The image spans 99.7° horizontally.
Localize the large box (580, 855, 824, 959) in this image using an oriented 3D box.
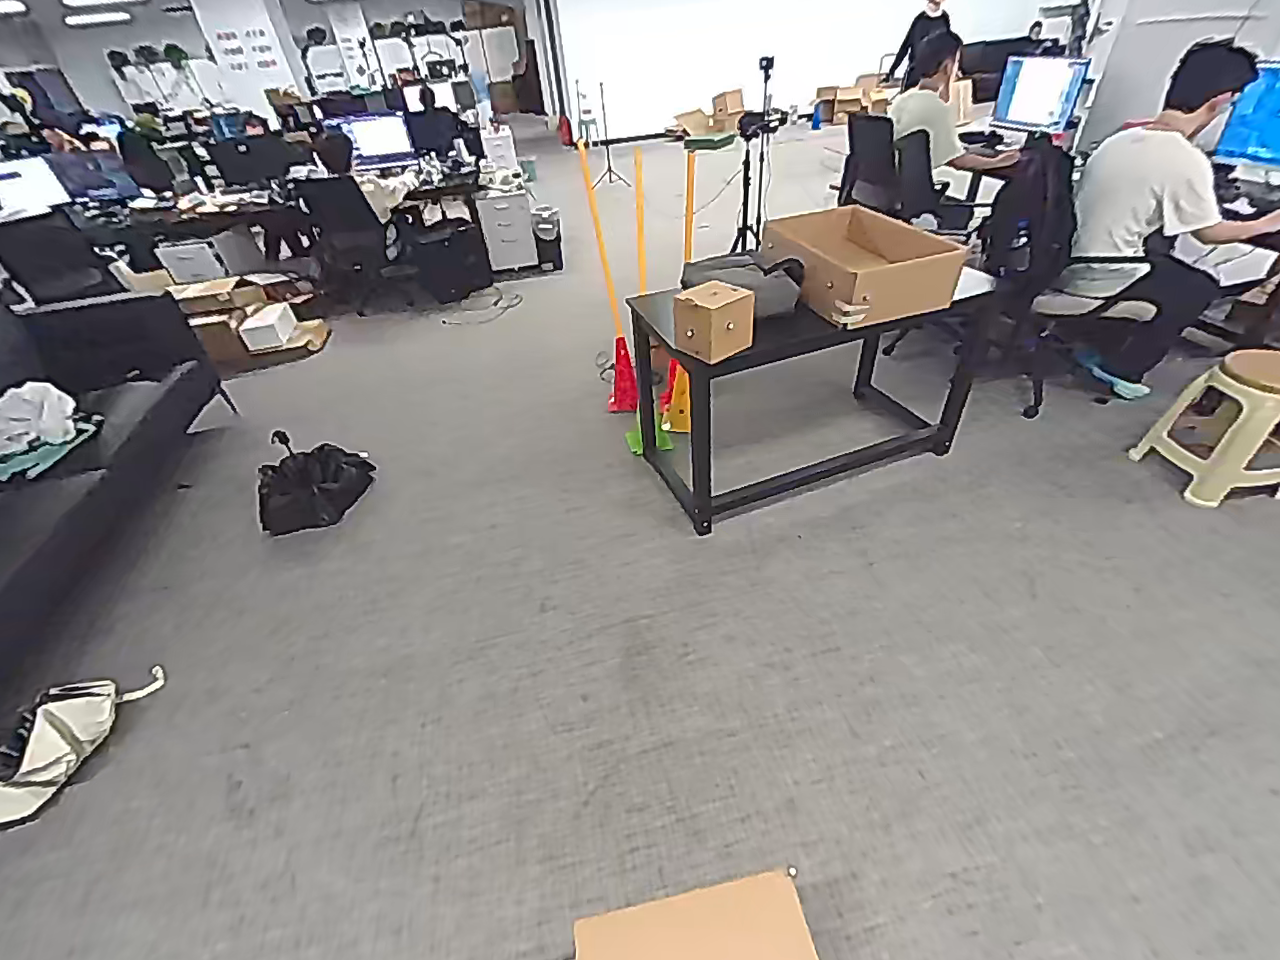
[{"bbox_3d":[0.126,0.949,0.972,0.408,0.320,0.320,-11,40,-5],"label":"large box"}]
